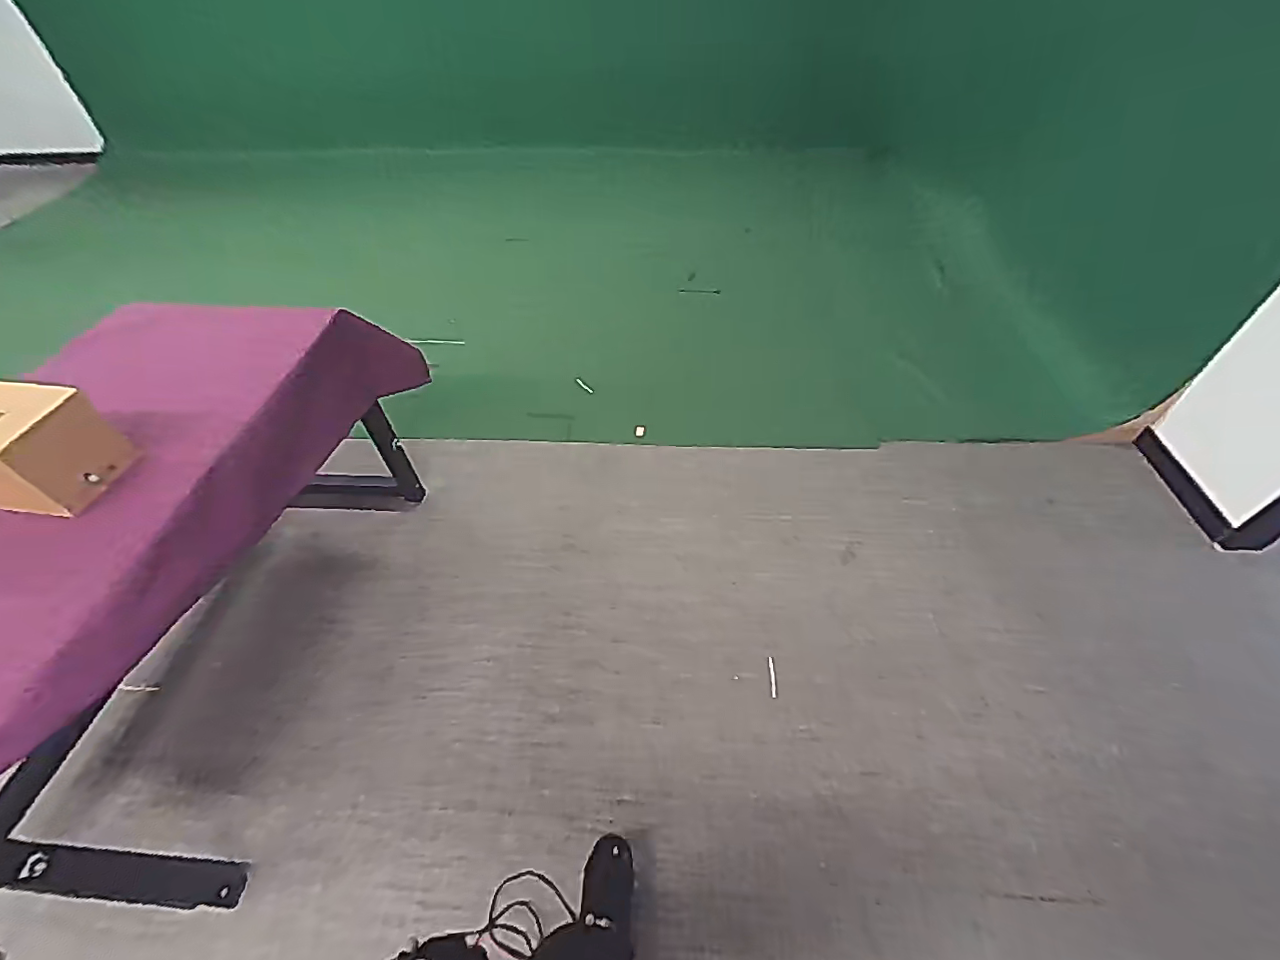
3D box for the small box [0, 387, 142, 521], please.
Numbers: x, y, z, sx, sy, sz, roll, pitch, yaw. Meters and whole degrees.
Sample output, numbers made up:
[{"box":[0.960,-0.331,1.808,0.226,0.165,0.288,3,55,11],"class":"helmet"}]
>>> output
[{"box":[-1.069,-0.044,0.959,0.179,0.176,0.168,6,50,7],"class":"small box"}]
